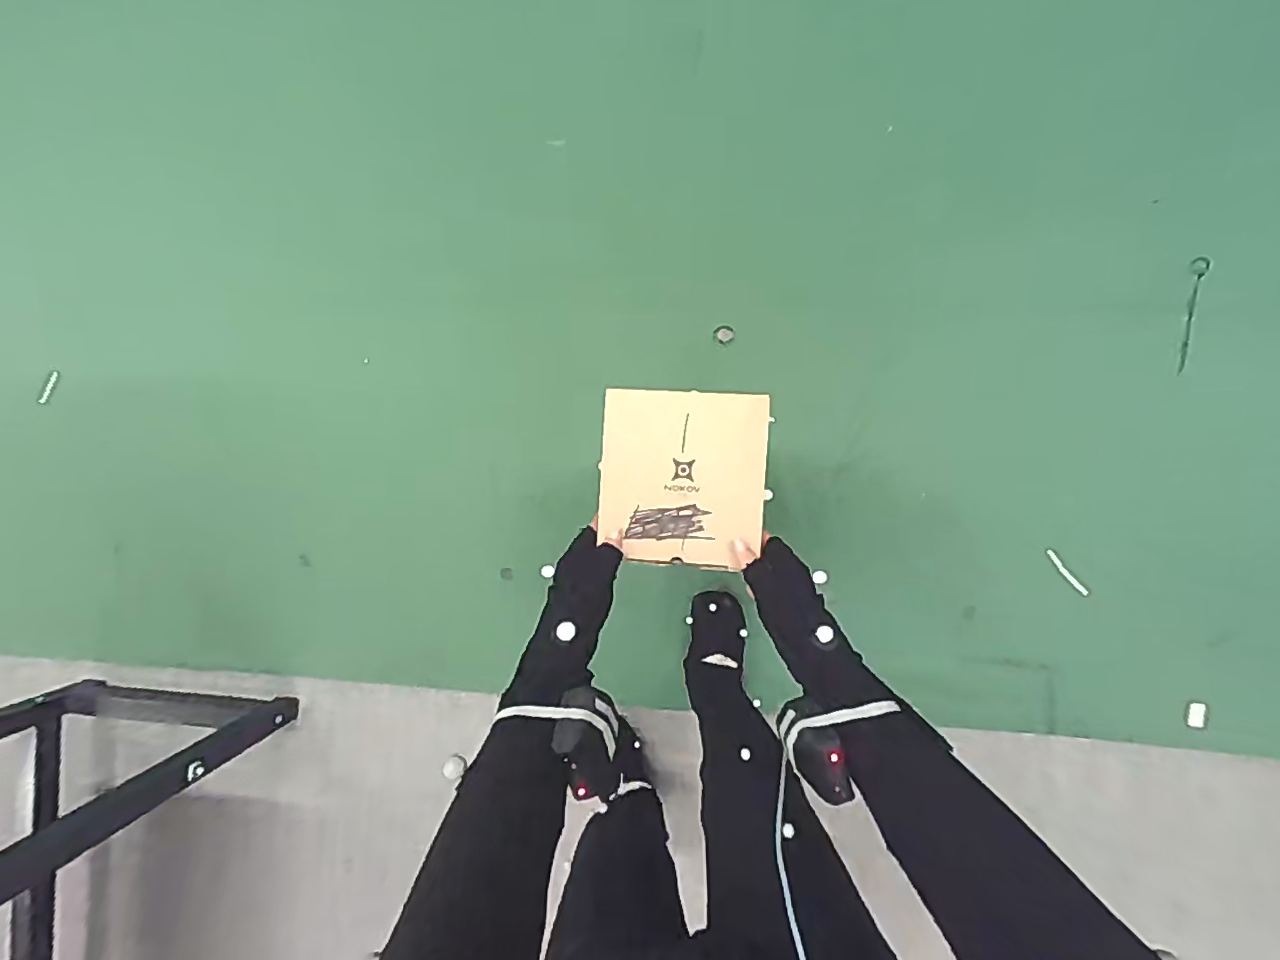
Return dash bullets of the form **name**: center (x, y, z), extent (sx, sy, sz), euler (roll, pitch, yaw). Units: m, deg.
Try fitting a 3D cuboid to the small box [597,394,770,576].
- **small box**: center (0.050, 0.002, 0.619), extent (0.168, 0.176, 0.179), euler (3, 91, 5)
